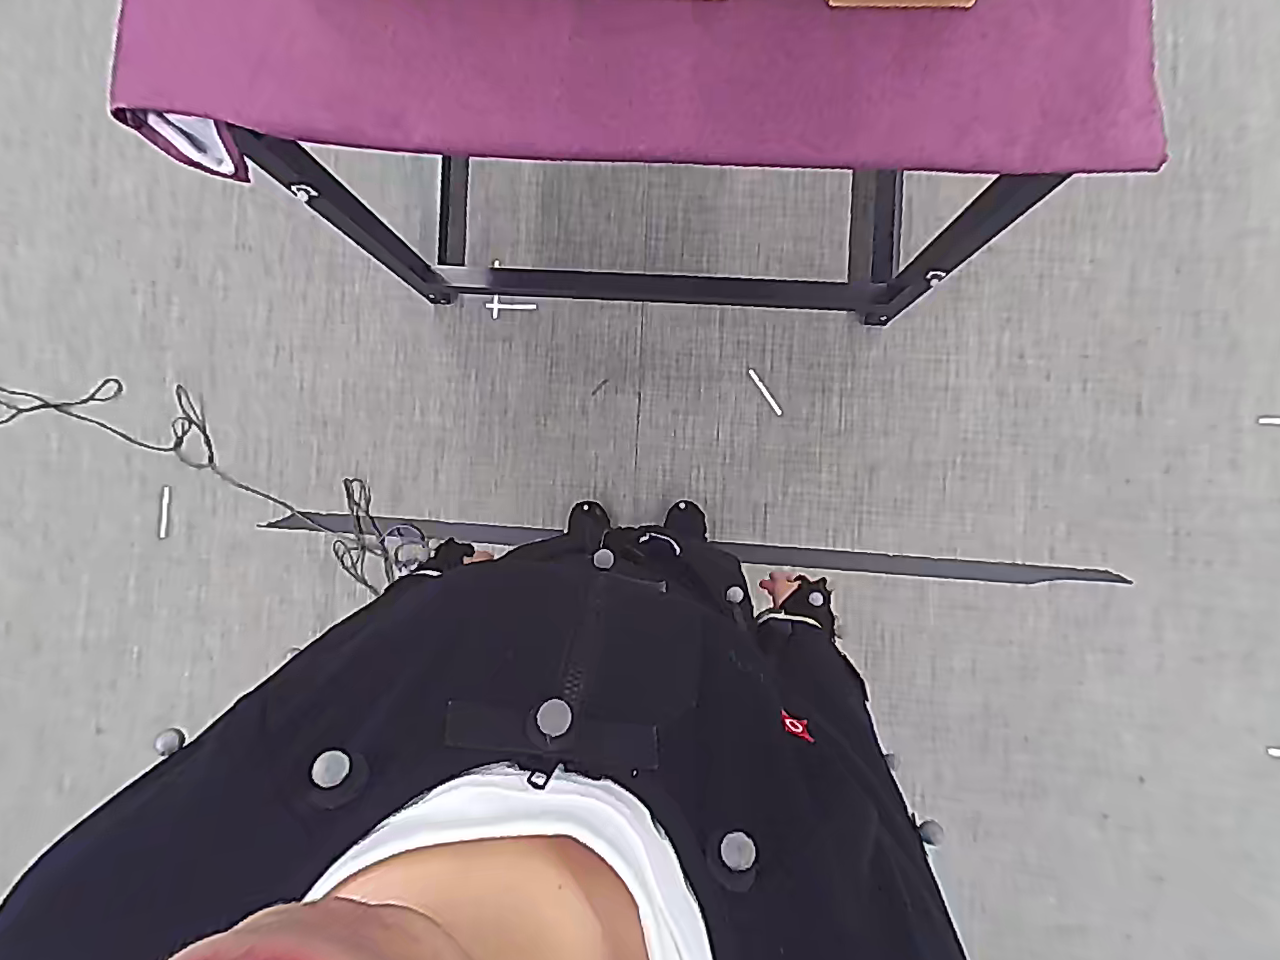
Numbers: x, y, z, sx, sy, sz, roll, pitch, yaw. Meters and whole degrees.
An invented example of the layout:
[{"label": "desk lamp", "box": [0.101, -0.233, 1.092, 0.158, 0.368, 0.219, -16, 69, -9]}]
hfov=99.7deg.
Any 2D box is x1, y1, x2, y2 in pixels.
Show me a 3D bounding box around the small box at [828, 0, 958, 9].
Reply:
[{"label": "small box", "box": [0.316, -0.659, 0.585, 0.179, 0.176, 0.168, 3, 87, 3]}]
